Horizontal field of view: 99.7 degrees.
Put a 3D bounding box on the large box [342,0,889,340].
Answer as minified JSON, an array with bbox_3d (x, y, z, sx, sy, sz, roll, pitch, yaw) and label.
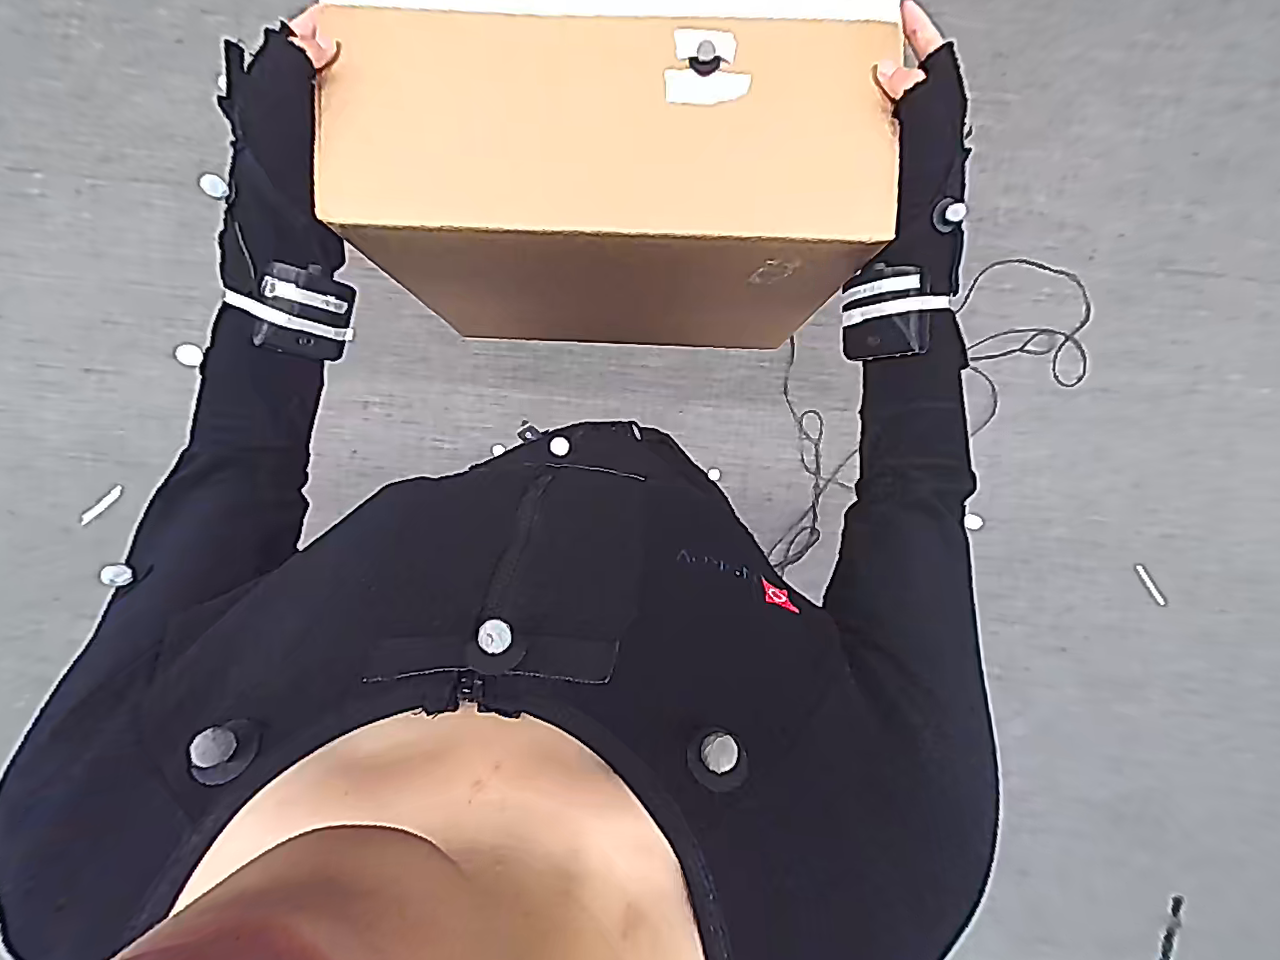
[{"bbox_3d":[-0.018,-0.335,0.544,0.408,0.320,0.320,2,90,0],"label":"large box"}]
